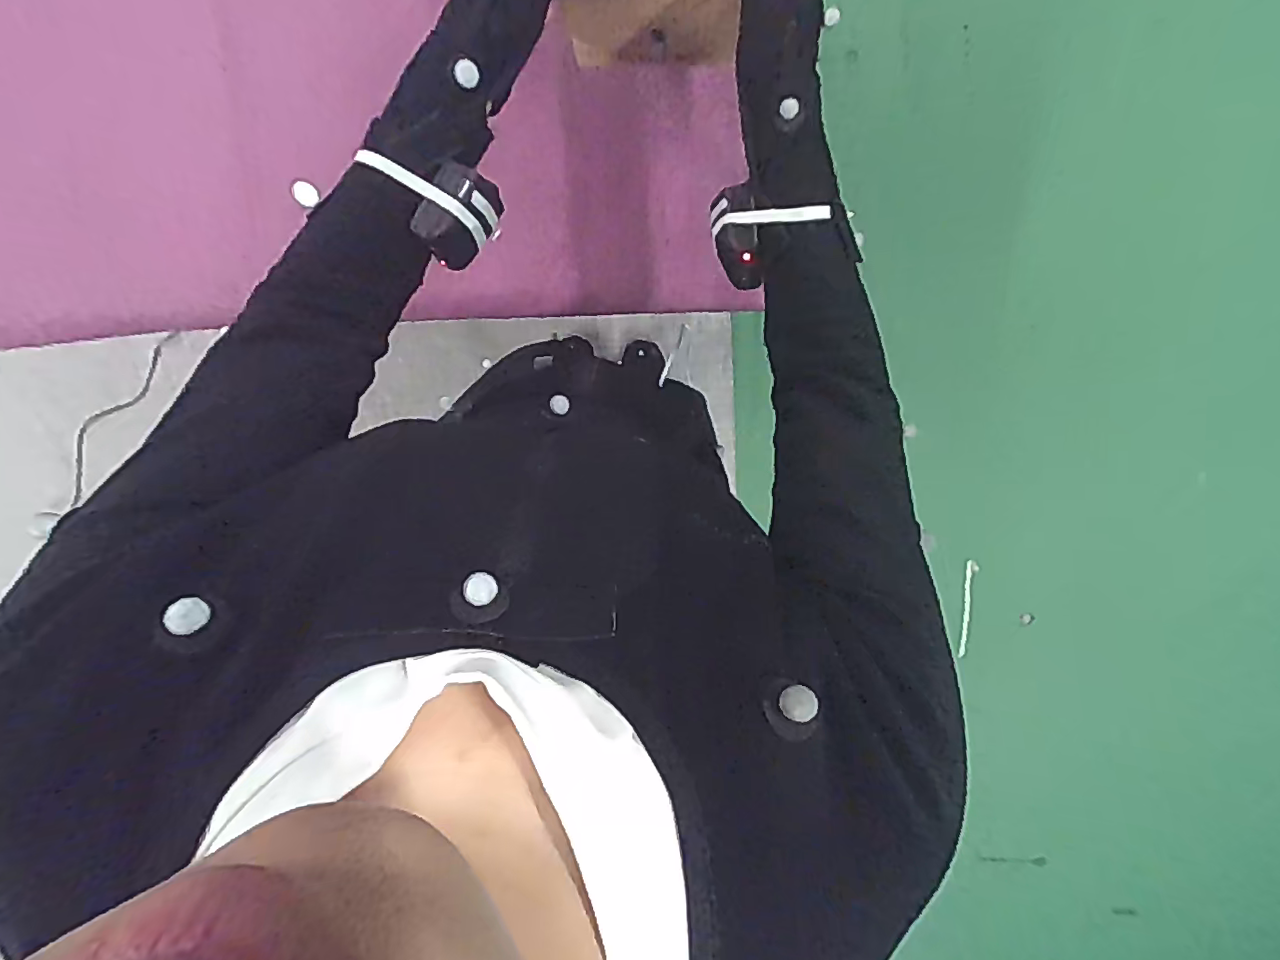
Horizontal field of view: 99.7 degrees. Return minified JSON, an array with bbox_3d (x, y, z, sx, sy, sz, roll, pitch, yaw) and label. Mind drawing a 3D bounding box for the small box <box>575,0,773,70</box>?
[{"bbox_3d":[0.028,-0.469,0.430,0.168,0.176,0.179,3,106,1],"label":"small box"}]
